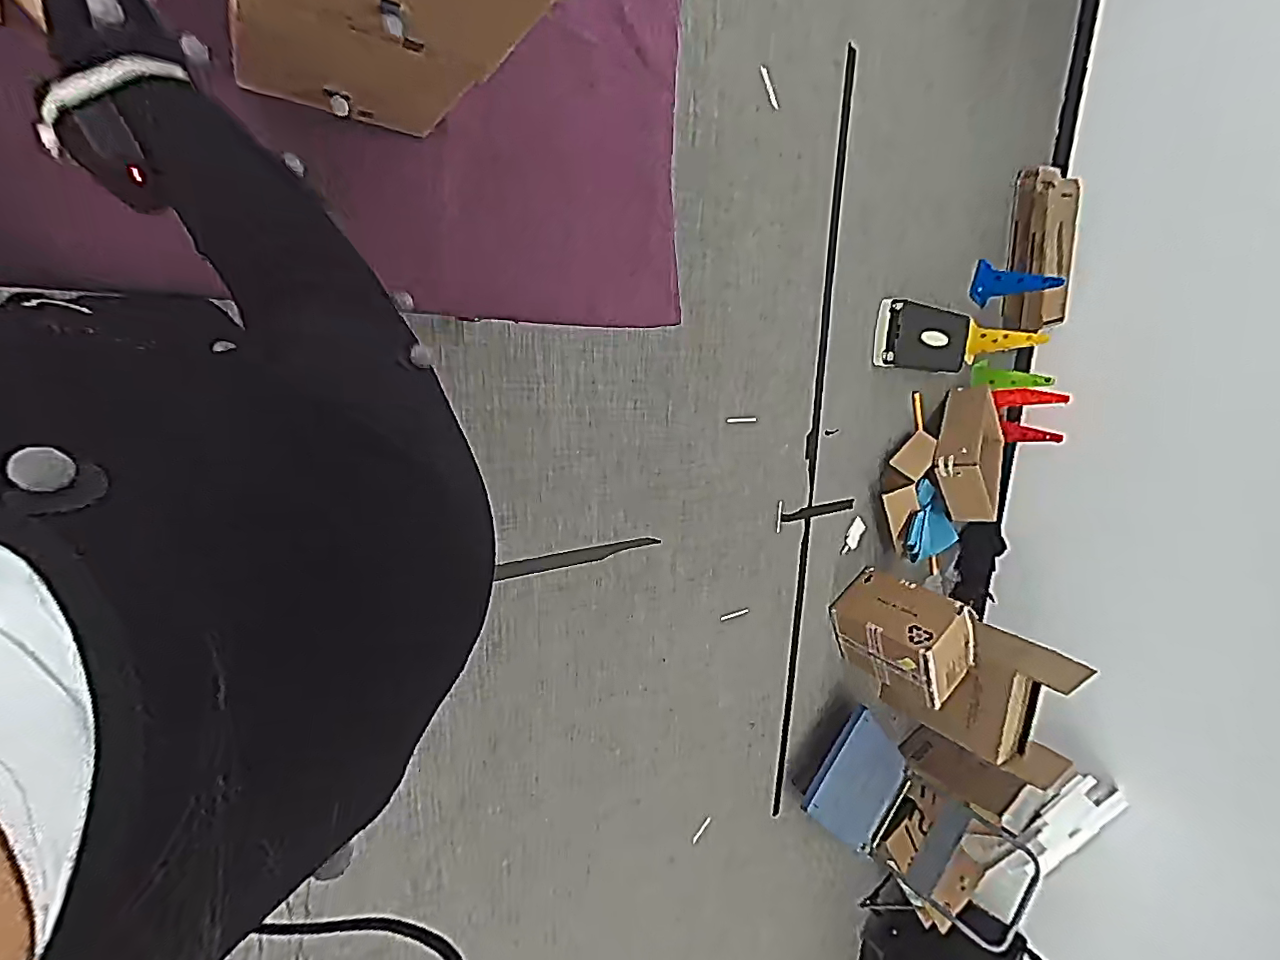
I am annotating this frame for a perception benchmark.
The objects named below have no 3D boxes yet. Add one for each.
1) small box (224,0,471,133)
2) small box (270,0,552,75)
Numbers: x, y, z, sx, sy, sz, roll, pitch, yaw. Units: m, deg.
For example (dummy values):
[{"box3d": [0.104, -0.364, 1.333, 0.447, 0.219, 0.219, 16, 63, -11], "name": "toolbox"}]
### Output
[{"box3d": [-0.251, -0.434, 0.458, 0.168, 0.176, 0.179, -5, 105, -36], "name": "small box"}, {"box3d": [-0.149, -0.403, 0.331, 0.168, 0.176, 0.179, -5, 104, -35], "name": "small box"}]
